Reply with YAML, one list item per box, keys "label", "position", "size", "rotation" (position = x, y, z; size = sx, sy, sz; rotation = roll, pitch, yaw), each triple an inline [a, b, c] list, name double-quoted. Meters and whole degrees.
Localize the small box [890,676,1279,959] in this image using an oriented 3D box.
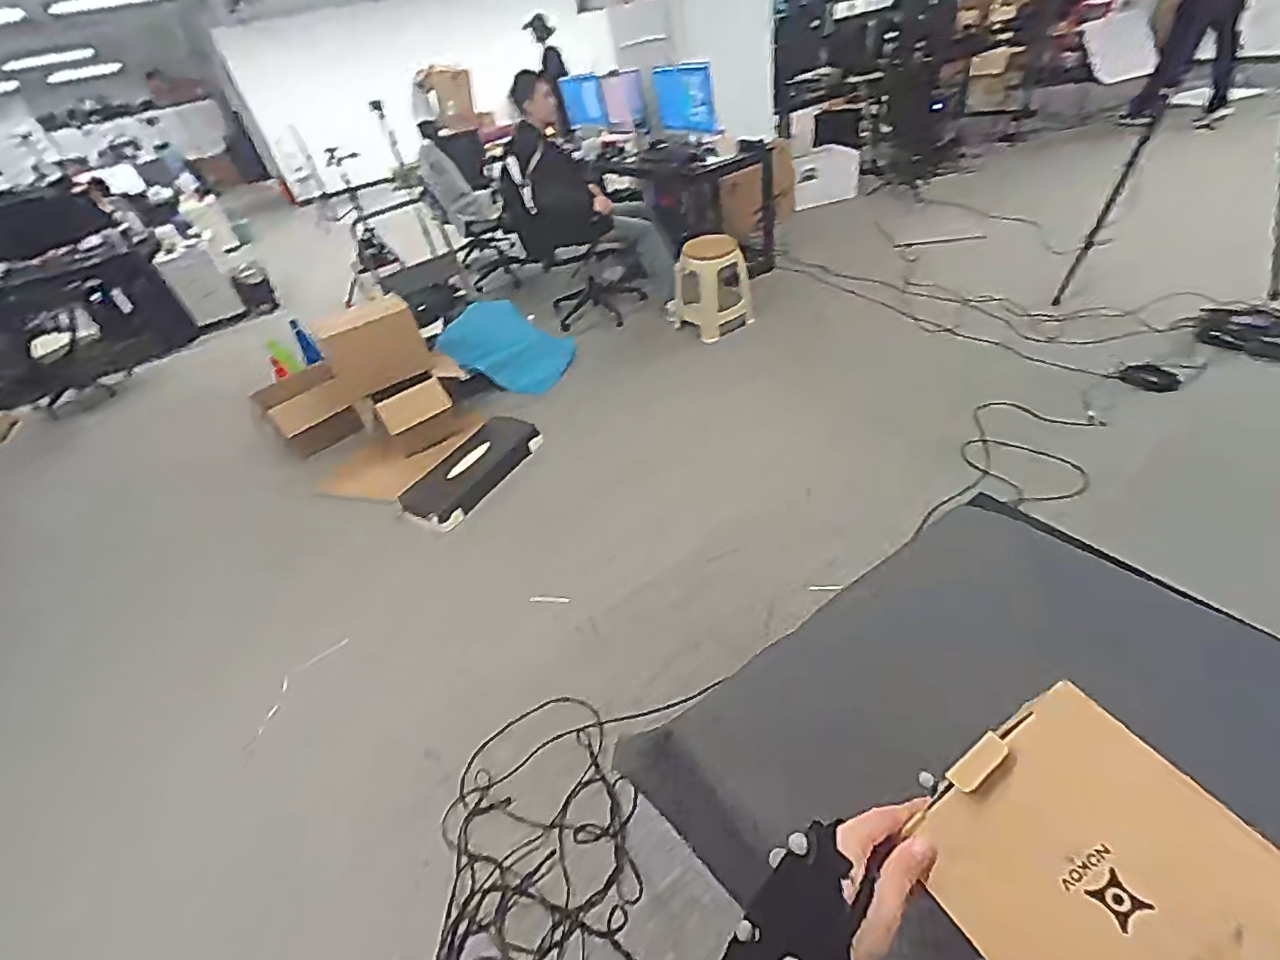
- label: "small box"
  position: [0.308, 0.270, 0.380]
  size: [0.168, 0.176, 0.179]
  rotation: [-46, 54, 2]
